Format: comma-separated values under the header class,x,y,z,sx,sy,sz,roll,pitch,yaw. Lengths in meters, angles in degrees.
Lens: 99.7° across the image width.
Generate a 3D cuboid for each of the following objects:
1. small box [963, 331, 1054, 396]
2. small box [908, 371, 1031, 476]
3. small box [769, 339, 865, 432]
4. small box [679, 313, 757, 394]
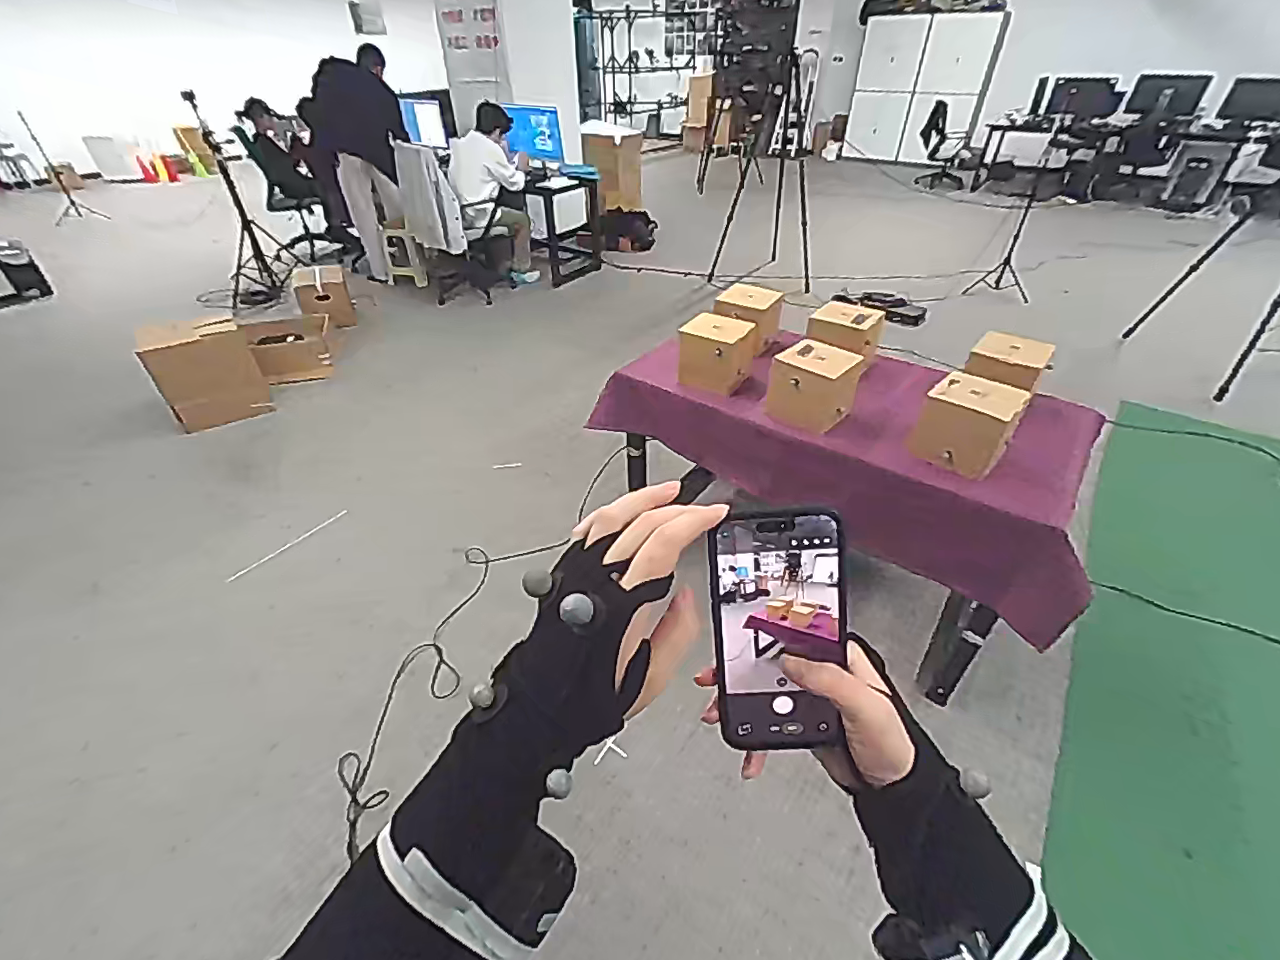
class,x,y,z,sx,sy,sz,roll,pitch,yaw
small box,0.983,-0.282,1.473,0.168,0.176,0.179,28,47,32
small box,0.778,-0.132,1.289,0.179,0.176,0.168,32,48,34
small box,0.465,-0.253,1.448,0.179,0.176,0.168,31,48,33
small box,0.227,-0.376,1.609,0.179,0.176,0.168,22,43,24
